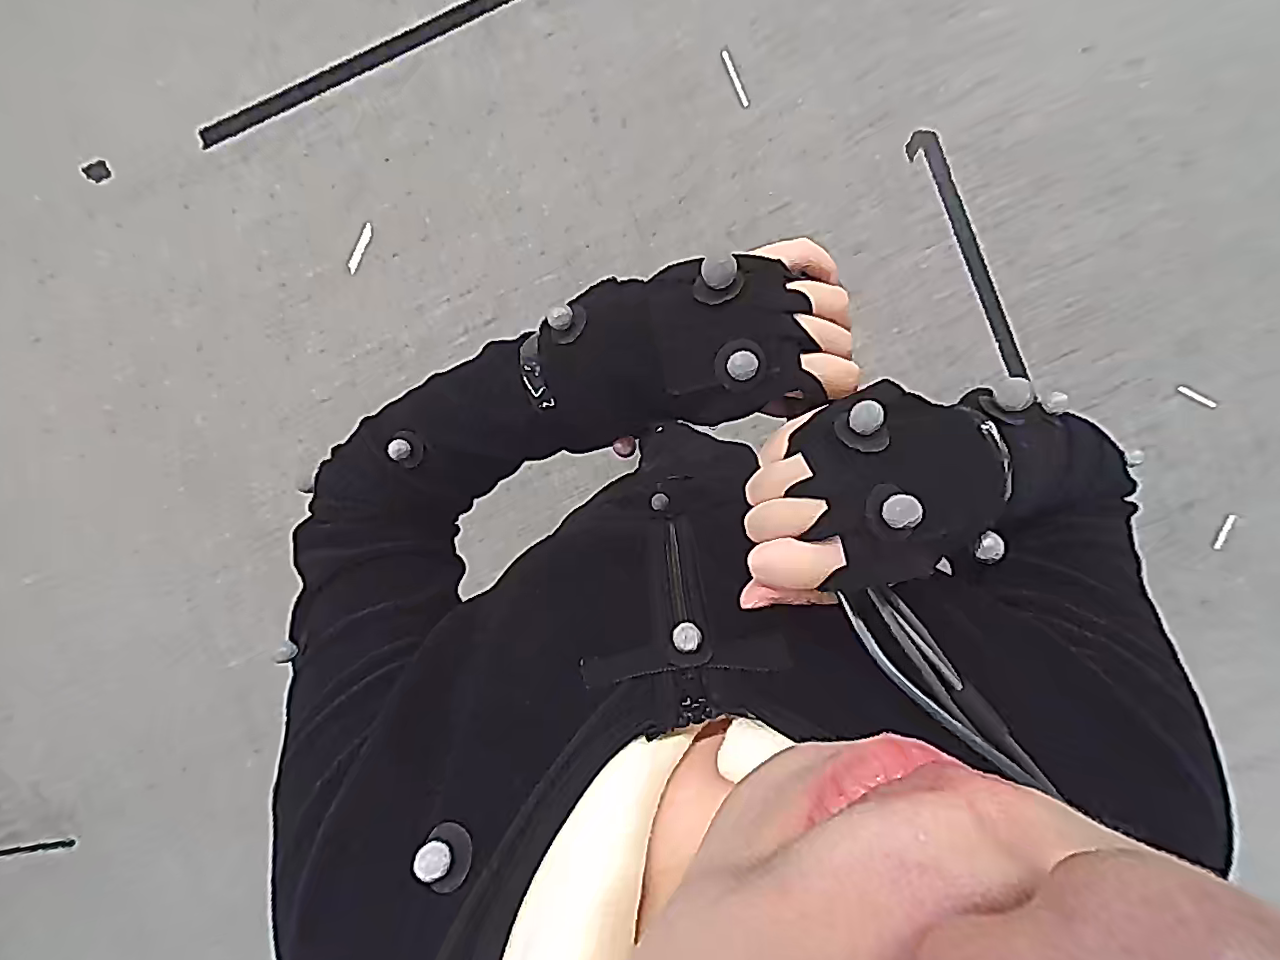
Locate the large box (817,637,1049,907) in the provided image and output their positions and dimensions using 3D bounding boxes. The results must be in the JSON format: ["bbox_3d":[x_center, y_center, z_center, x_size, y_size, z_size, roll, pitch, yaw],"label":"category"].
[{"bbox_3d":[0.634,0.626,1.225,0.320,0.320,0.408,-12,95,0],"label":"large box"}]
